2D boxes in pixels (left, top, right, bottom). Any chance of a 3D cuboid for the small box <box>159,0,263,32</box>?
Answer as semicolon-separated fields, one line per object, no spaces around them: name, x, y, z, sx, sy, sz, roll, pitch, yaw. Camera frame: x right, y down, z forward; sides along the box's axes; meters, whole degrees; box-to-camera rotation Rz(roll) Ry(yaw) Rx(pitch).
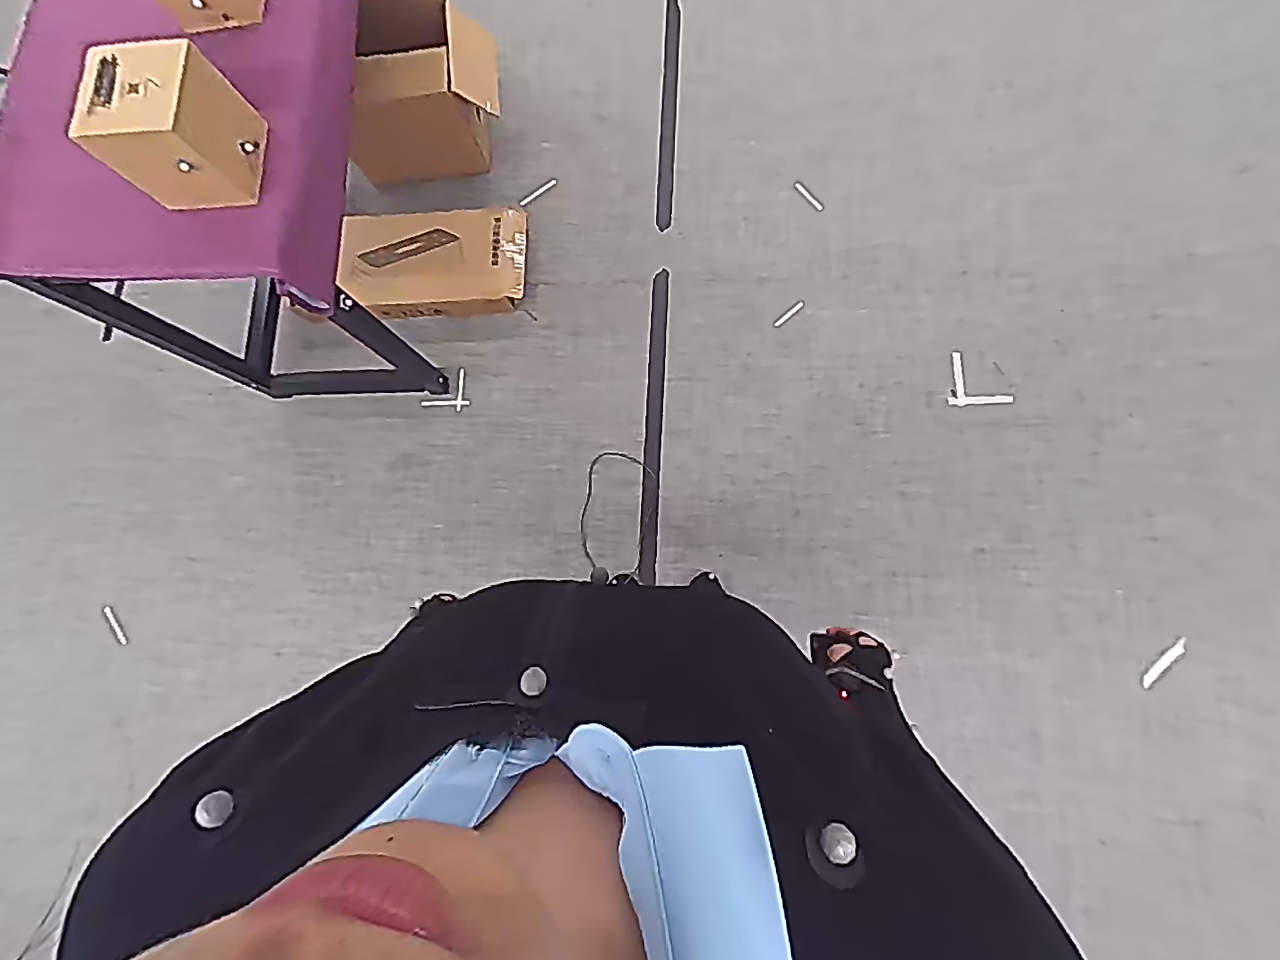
small box;-0.814;-0.968;0.978;0.168;0.176;0.179;-2;80;7
